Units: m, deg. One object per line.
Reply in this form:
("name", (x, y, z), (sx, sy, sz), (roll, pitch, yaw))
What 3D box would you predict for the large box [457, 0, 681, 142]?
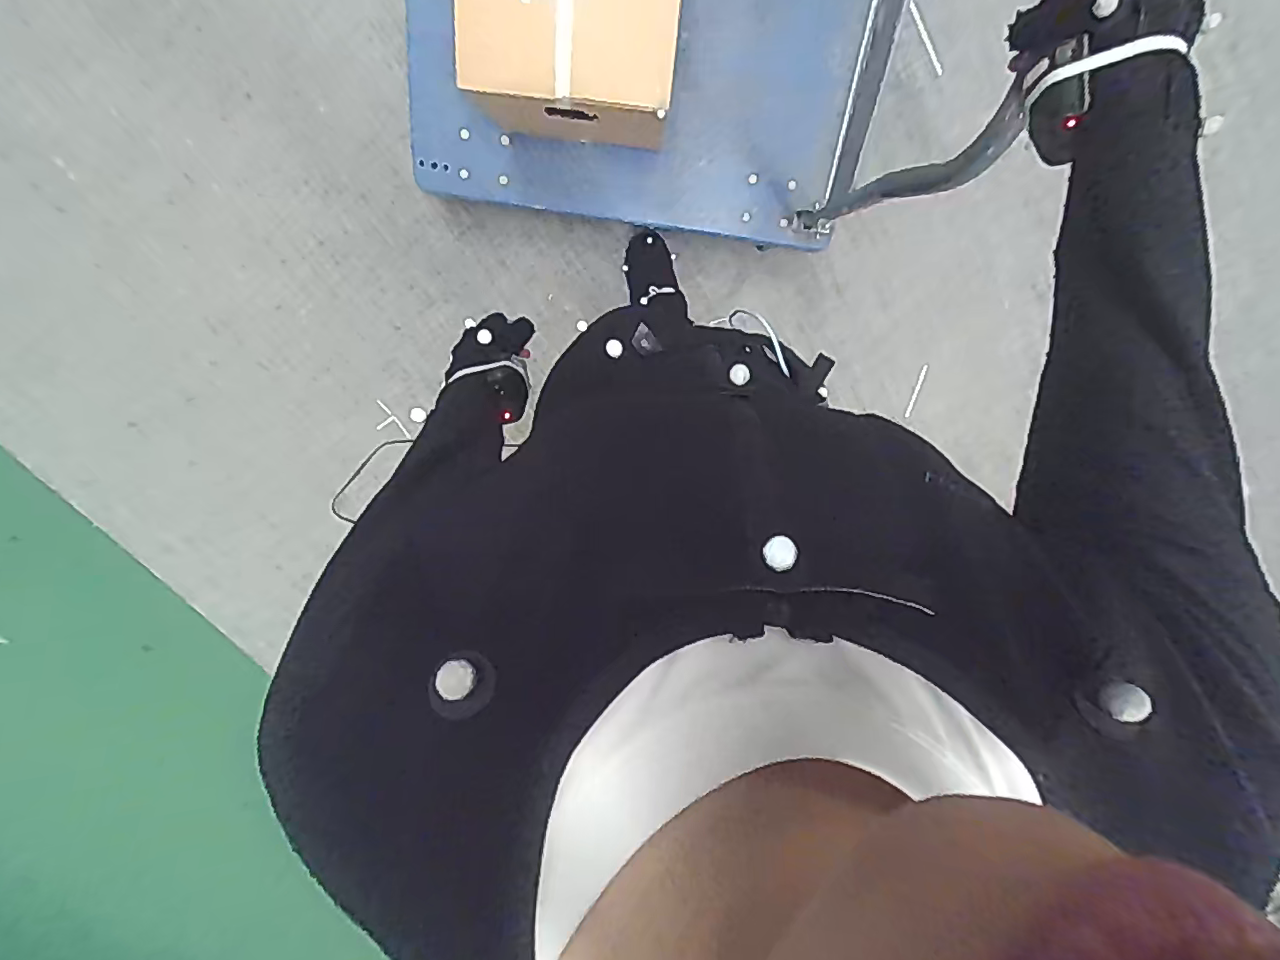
("large box", (-0.089, -0.802, 0.847), (0.320, 0.320, 0.408), (6, 114, 0))
